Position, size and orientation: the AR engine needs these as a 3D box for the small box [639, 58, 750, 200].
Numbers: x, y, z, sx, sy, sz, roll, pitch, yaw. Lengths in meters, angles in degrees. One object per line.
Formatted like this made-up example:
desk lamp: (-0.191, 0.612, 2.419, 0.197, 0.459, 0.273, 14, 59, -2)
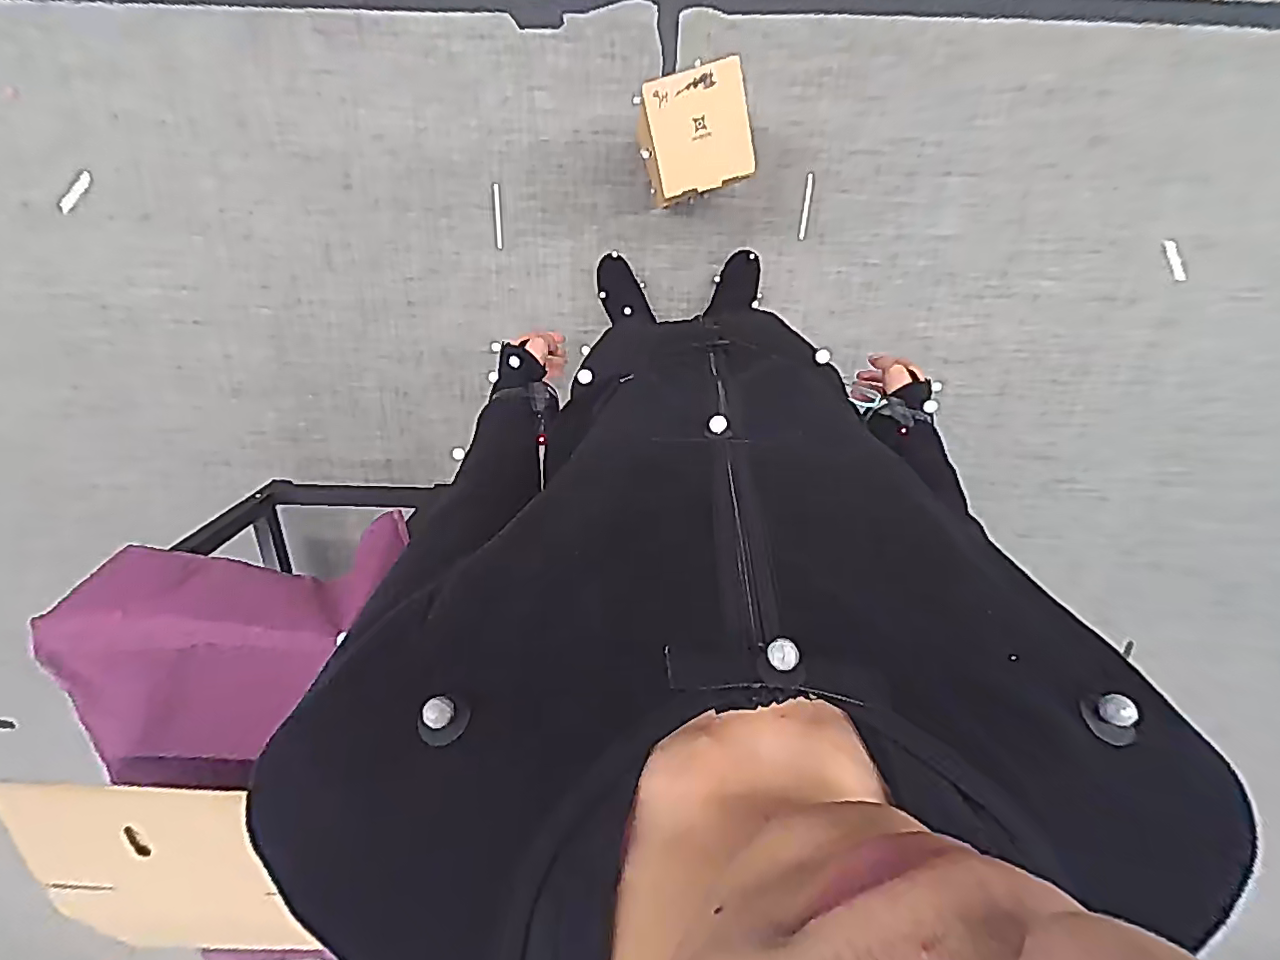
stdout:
small box: (0.097, -0.628, 0.991, 0.168, 0.176, 0.179, -13, 115, 5)
